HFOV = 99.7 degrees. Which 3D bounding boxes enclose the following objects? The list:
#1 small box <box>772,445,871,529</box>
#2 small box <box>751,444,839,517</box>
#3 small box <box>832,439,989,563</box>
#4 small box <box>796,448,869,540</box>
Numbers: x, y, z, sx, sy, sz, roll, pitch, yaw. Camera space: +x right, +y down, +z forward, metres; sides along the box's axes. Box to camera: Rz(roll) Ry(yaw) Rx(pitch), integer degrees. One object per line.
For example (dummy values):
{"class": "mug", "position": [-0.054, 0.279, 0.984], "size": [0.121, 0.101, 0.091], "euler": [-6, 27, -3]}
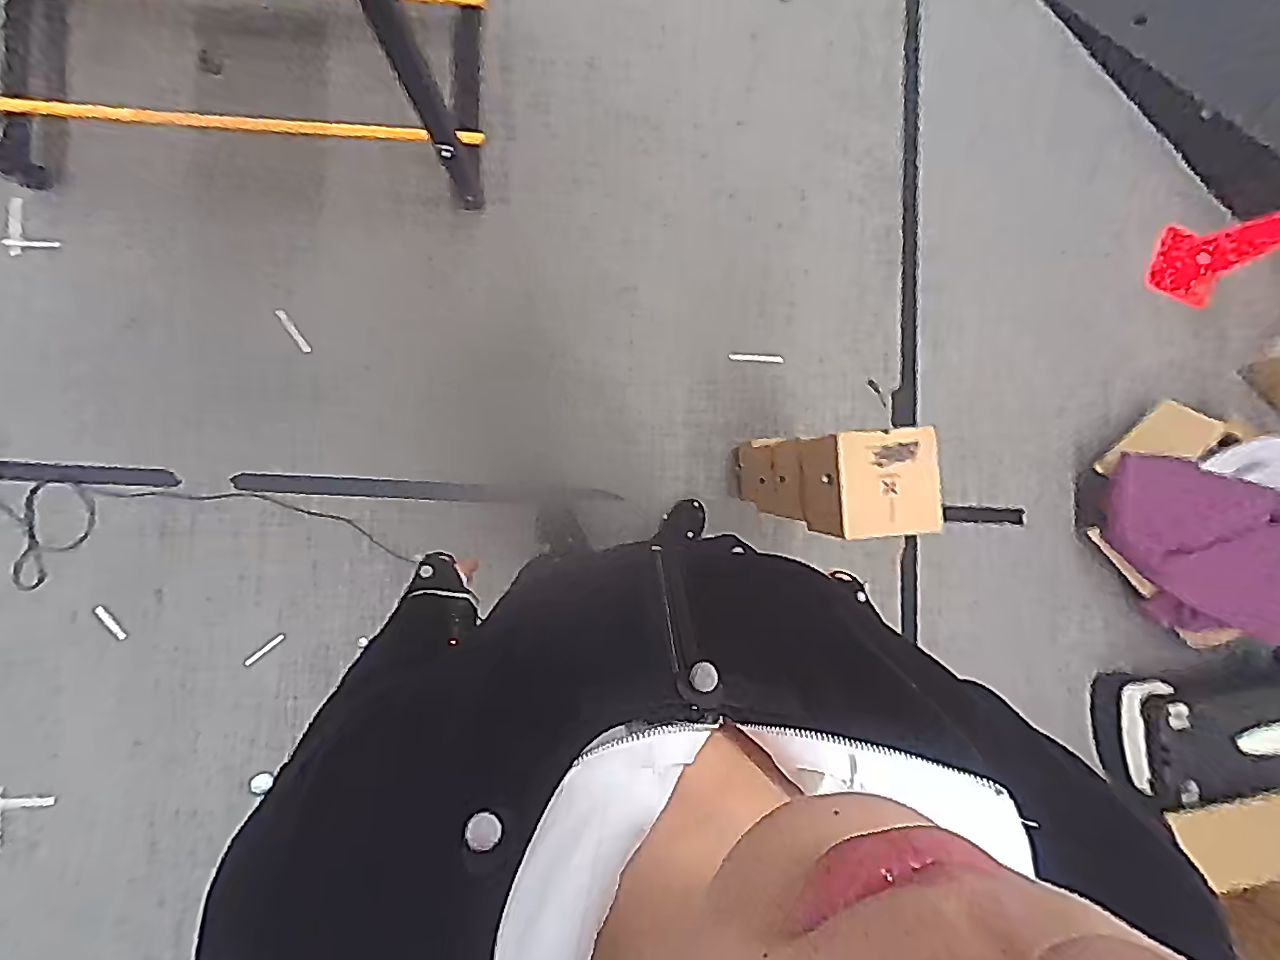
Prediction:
{"class": "small box", "position": [0.402, 0.018, 1.205], "size": [0.179, 0.176, 0.168], "euler": [-6, 89, -3]}
{"class": "small box", "position": [0.393, 0.001, 1.369], "size": [0.179, 0.176, 0.168], "euler": [-5, 89, -2]}
{"class": "small box", "position": [0.425, 0.032, 0.876], "size": [0.168, 0.176, 0.179], "euler": [-5, 90, -3]}
{"class": "small box", "position": [0.415, 0.025, 1.040], "size": [0.179, 0.176, 0.168], "euler": [-1, 89, -3]}
